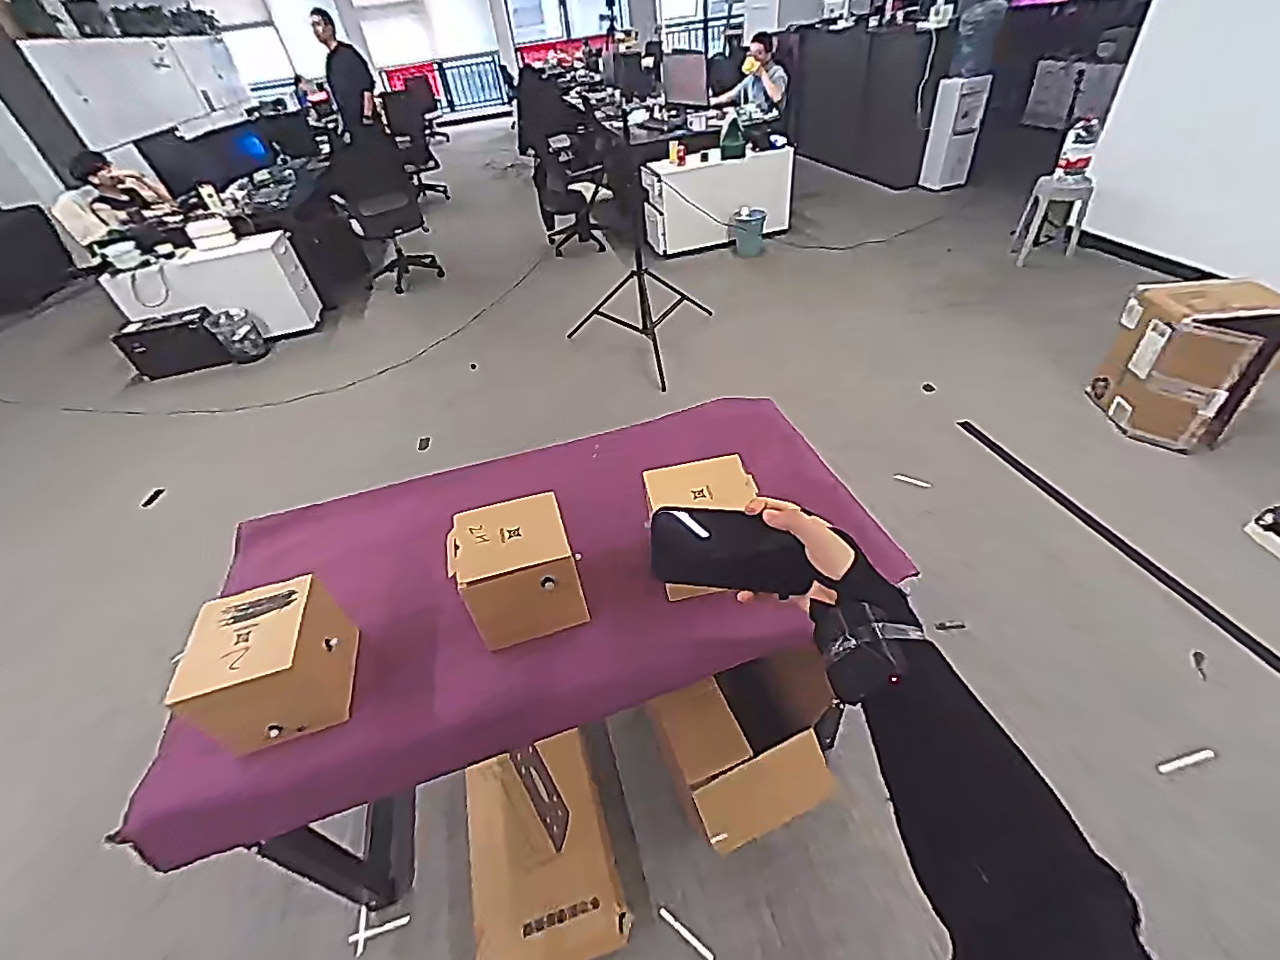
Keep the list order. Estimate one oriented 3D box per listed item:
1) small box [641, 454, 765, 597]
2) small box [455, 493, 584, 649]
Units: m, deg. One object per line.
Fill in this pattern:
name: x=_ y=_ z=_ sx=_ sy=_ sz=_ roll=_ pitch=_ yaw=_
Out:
small box: x=0.109 y=0.083 z=0.949 sx=0.179 sy=0.176 sz=0.168 roll=-11 pitch=41 yaw=-4
small box: x=-0.200 y=0.155 z=0.918 sx=0.179 sy=0.176 sz=0.168 roll=-16 pitch=39 yaw=-9
